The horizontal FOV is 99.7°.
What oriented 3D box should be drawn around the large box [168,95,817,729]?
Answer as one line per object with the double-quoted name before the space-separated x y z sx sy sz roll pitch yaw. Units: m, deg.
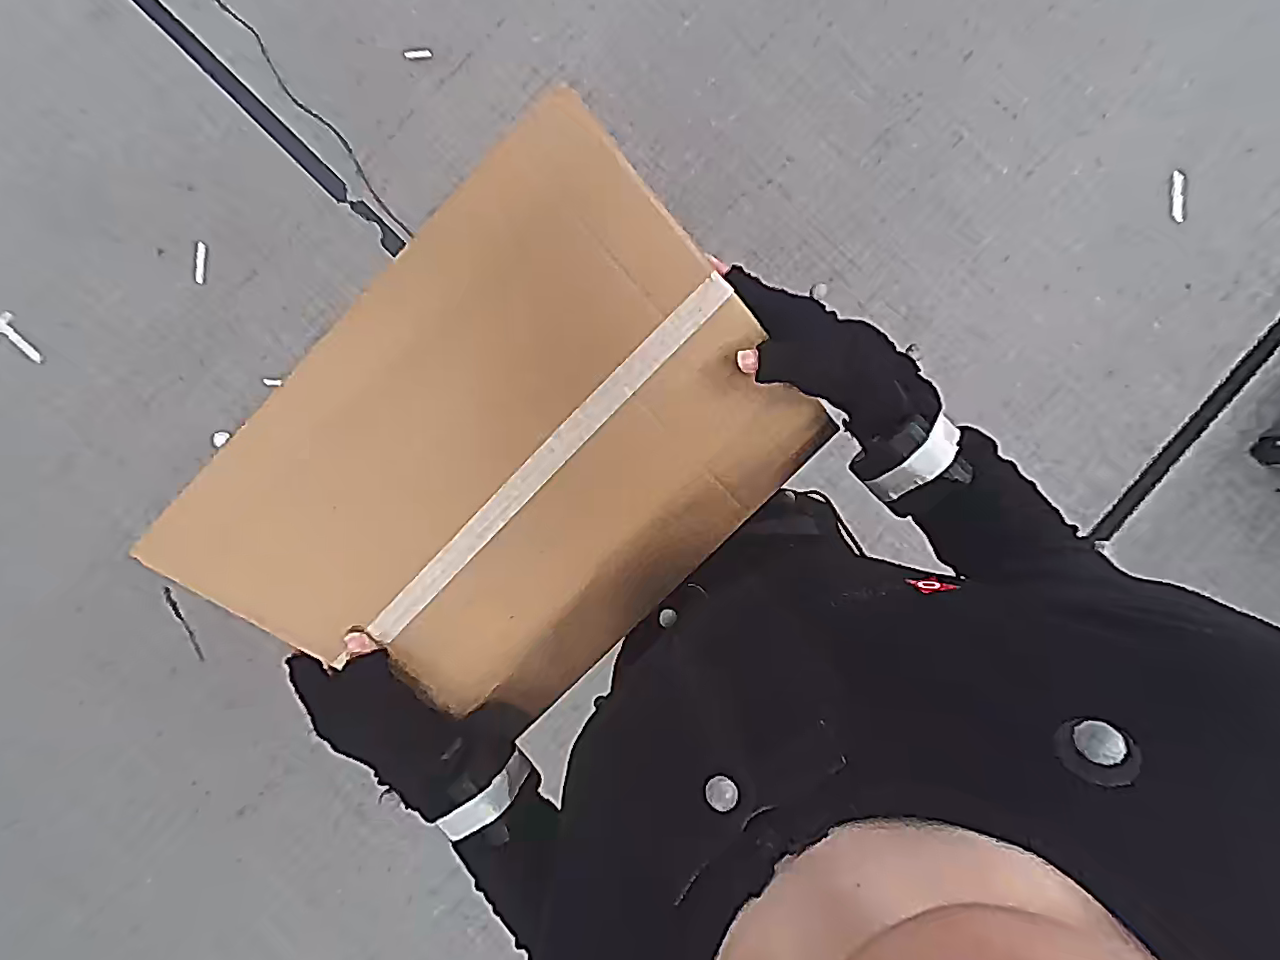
"large box" -0.122 -0.055 0.547 0.408 0.320 0.320 -45 114 5
